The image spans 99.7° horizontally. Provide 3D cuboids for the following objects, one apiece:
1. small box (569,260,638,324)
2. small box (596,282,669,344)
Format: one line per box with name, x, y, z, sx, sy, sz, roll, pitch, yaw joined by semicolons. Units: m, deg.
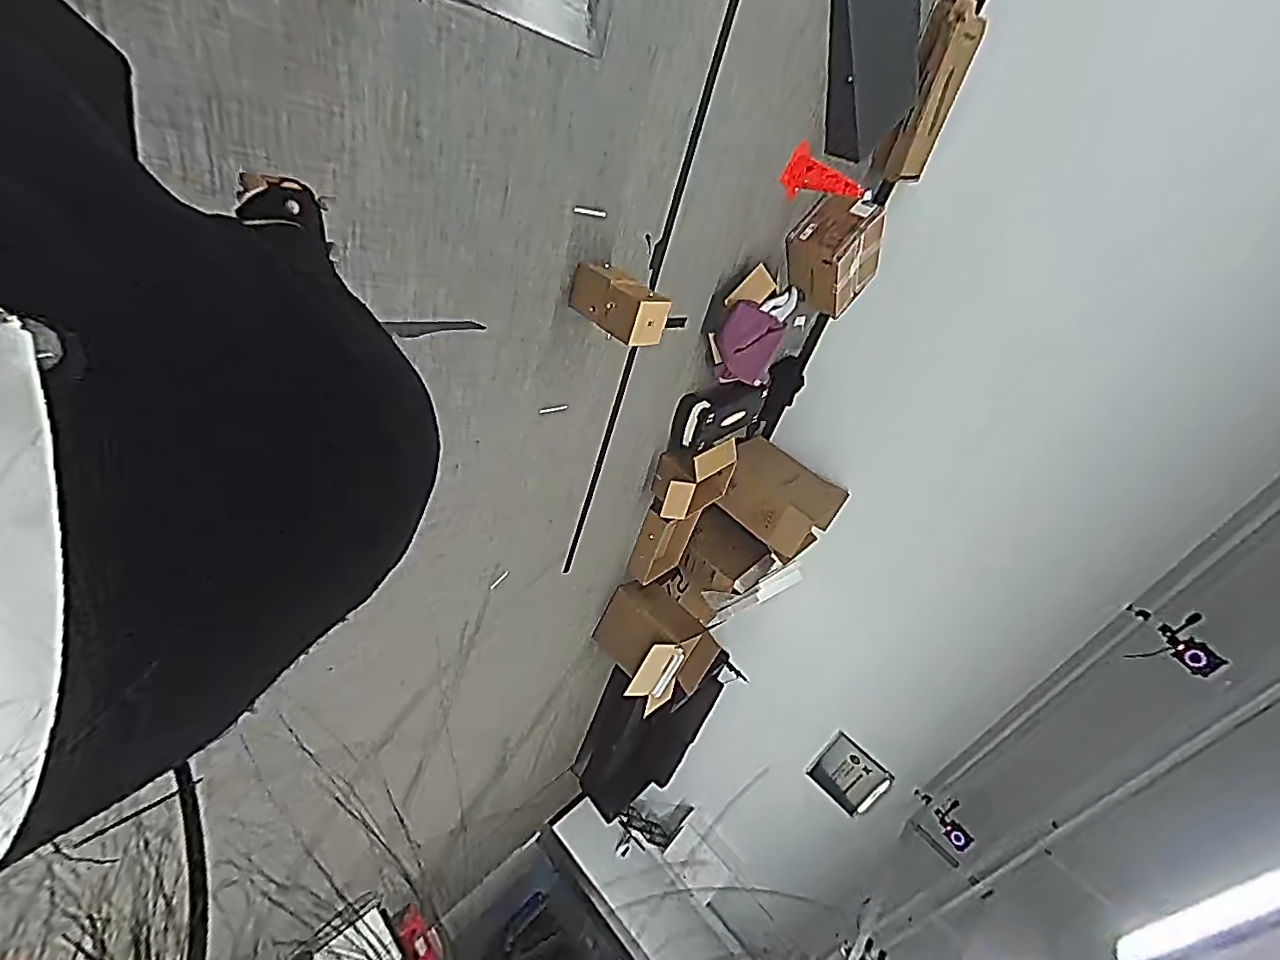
small box;-0.143;-0.703;2.031;0.168;0.176;0.179;-19;138;-47
small box;-0.028;-0.608;1.965;0.179;0.176;0.168;-19;137;-45
